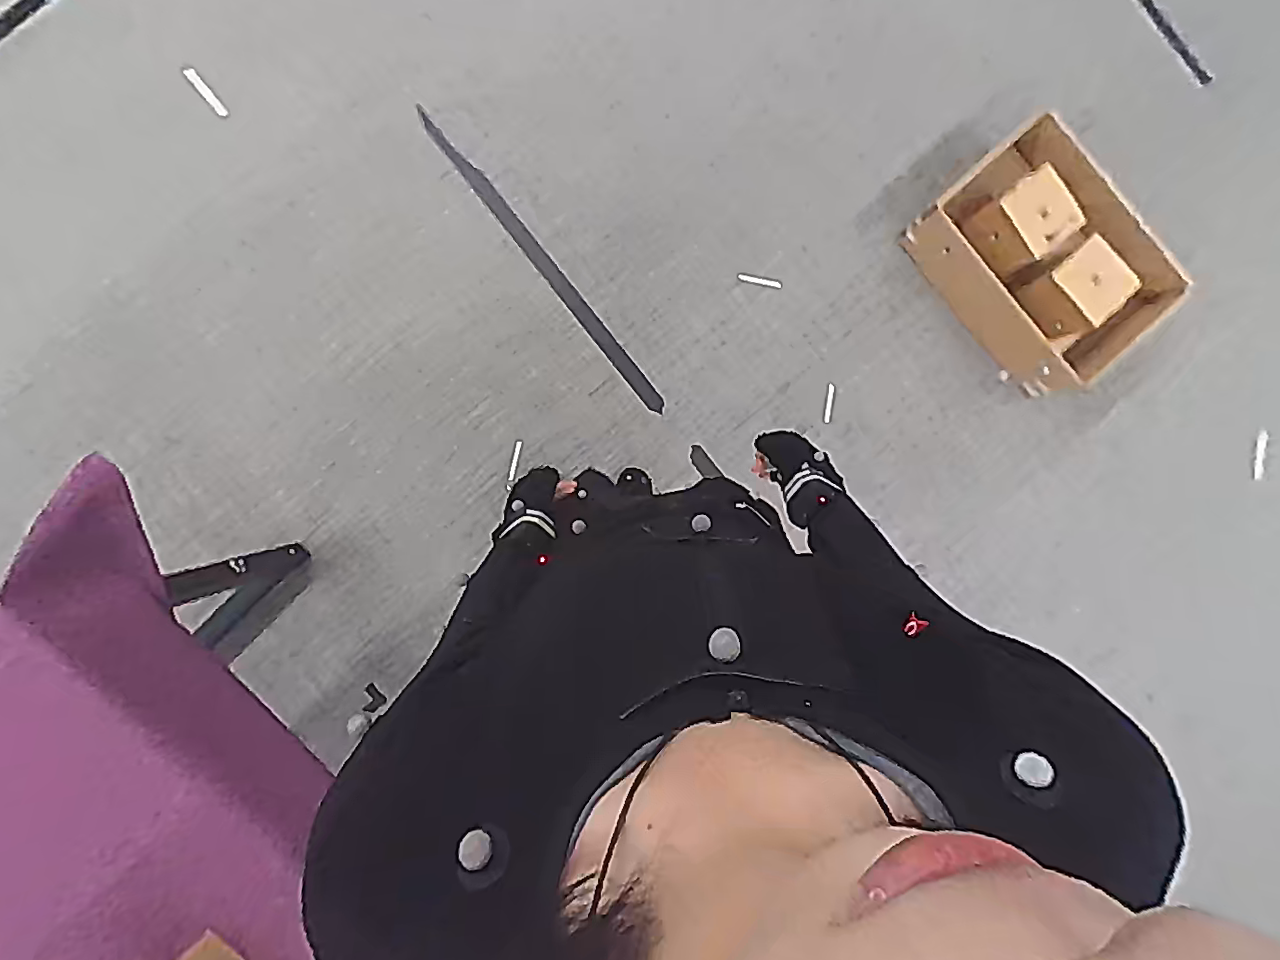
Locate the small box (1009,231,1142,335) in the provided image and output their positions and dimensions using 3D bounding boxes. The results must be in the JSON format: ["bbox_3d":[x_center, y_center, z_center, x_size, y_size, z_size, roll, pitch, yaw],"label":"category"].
[{"bbox_3d":[1.141,-0.507,1.429,0.168,0.176,0.179,-44,91,-2],"label":"small box"}]

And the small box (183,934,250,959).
[{"bbox_3d":[-0.602,0.753,0.686,0.179,0.176,0.168,-44,93,-2],"label":"small box"}]

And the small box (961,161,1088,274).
[{"bbox_3d":[0.994,-0.677,1.416,0.168,0.176,0.179,-37,93,-1],"label":"small box"}]
